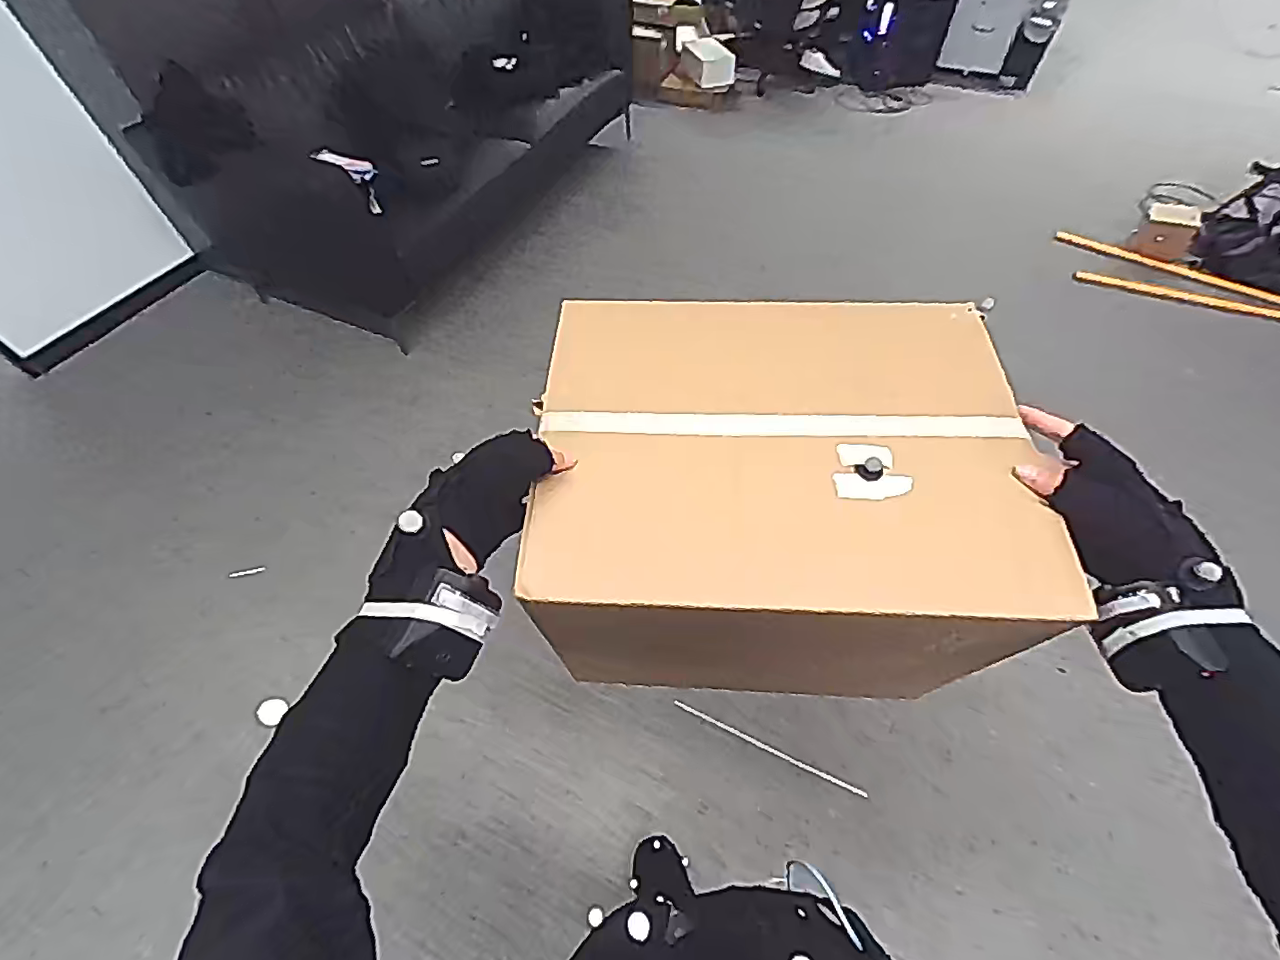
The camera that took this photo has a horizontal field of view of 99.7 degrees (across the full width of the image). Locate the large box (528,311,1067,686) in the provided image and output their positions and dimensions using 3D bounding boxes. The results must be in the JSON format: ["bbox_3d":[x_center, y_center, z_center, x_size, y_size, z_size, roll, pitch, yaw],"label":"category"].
[{"bbox_3d":[0.117,0.036,0.598,0.408,0.320,0.320,1,59,2],"label":"large box"}]
